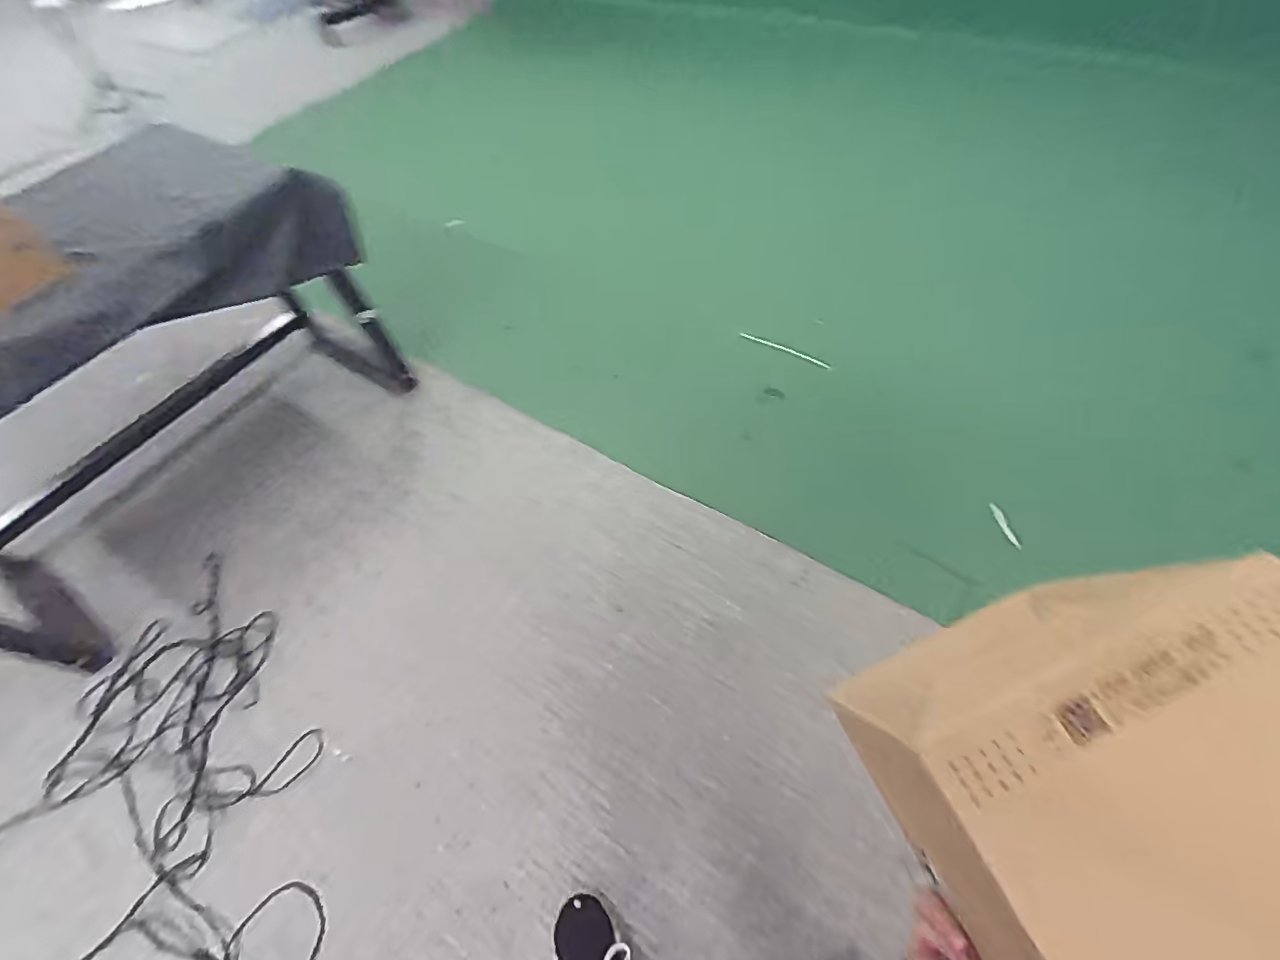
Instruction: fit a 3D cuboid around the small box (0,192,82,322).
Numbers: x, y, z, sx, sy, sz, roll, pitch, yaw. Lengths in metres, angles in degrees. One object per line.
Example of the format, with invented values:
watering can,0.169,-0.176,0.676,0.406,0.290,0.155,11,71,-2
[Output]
small box,-1.261,-0.444,1.054,0.168,0.176,0.179,26,64,24
